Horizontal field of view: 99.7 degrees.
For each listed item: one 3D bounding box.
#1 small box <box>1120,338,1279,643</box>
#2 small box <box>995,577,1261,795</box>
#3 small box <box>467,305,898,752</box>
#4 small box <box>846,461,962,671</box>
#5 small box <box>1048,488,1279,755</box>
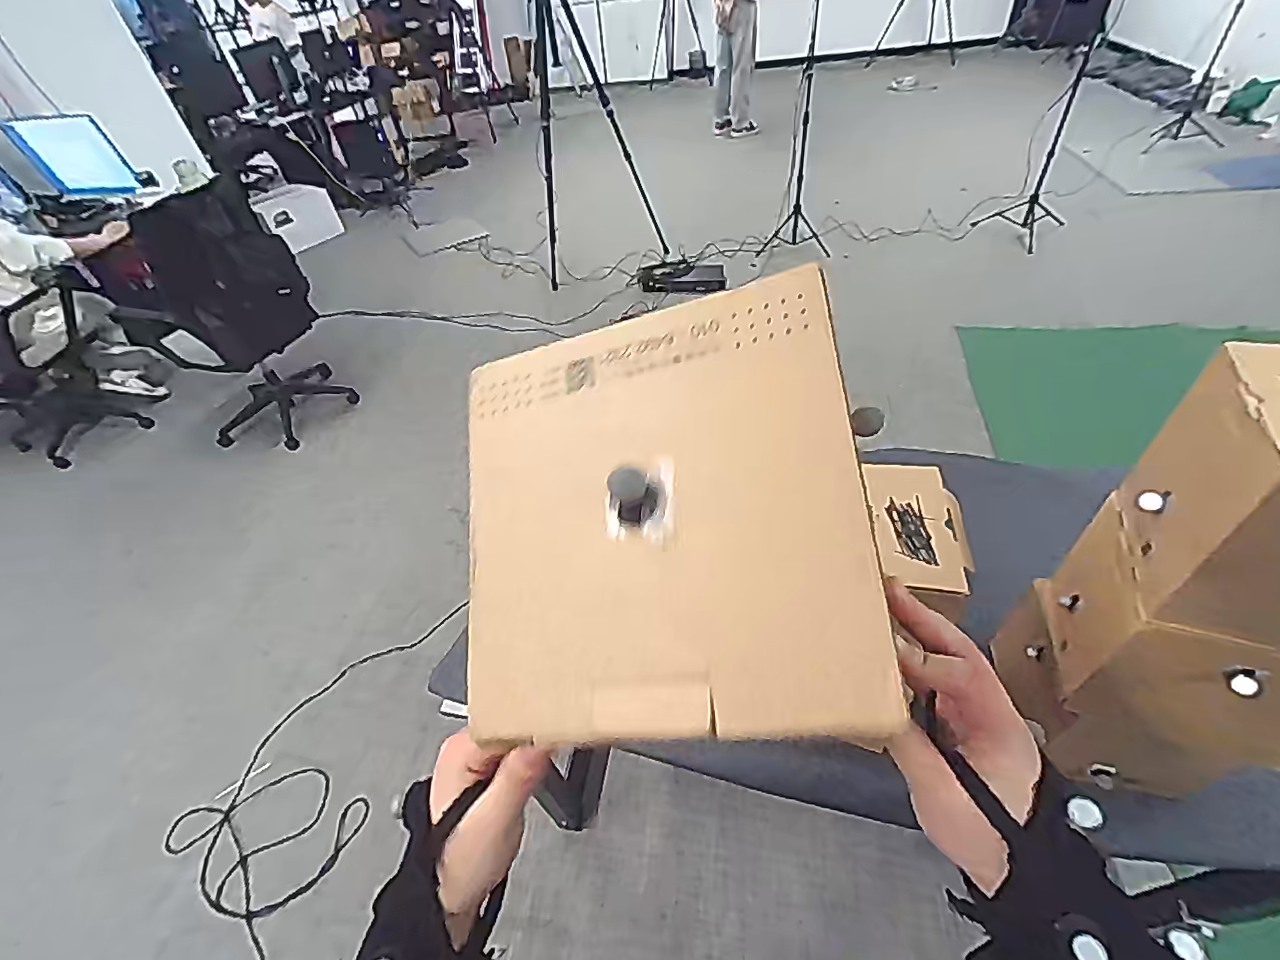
[{"bbox_3d":[0.518,0.017,0.408,0.179,0.176,0.168,13,47,23],"label":"small box"},{"bbox_3d":[0.554,0.242,0.643,0.168,0.176,0.179,4,46,14],"label":"small box"},{"bbox_3d":[0.027,0.029,0.284,0.168,0.179,0.176,-12,75,22],"label":"small box"},{"bbox_3d":[0.228,0.095,0.606,0.179,0.176,0.168,4,45,14],"label":"small box"},{"bbox_3d":[0.533,0.136,0.521,0.179,0.176,0.168,12,47,22],"label":"small box"}]
